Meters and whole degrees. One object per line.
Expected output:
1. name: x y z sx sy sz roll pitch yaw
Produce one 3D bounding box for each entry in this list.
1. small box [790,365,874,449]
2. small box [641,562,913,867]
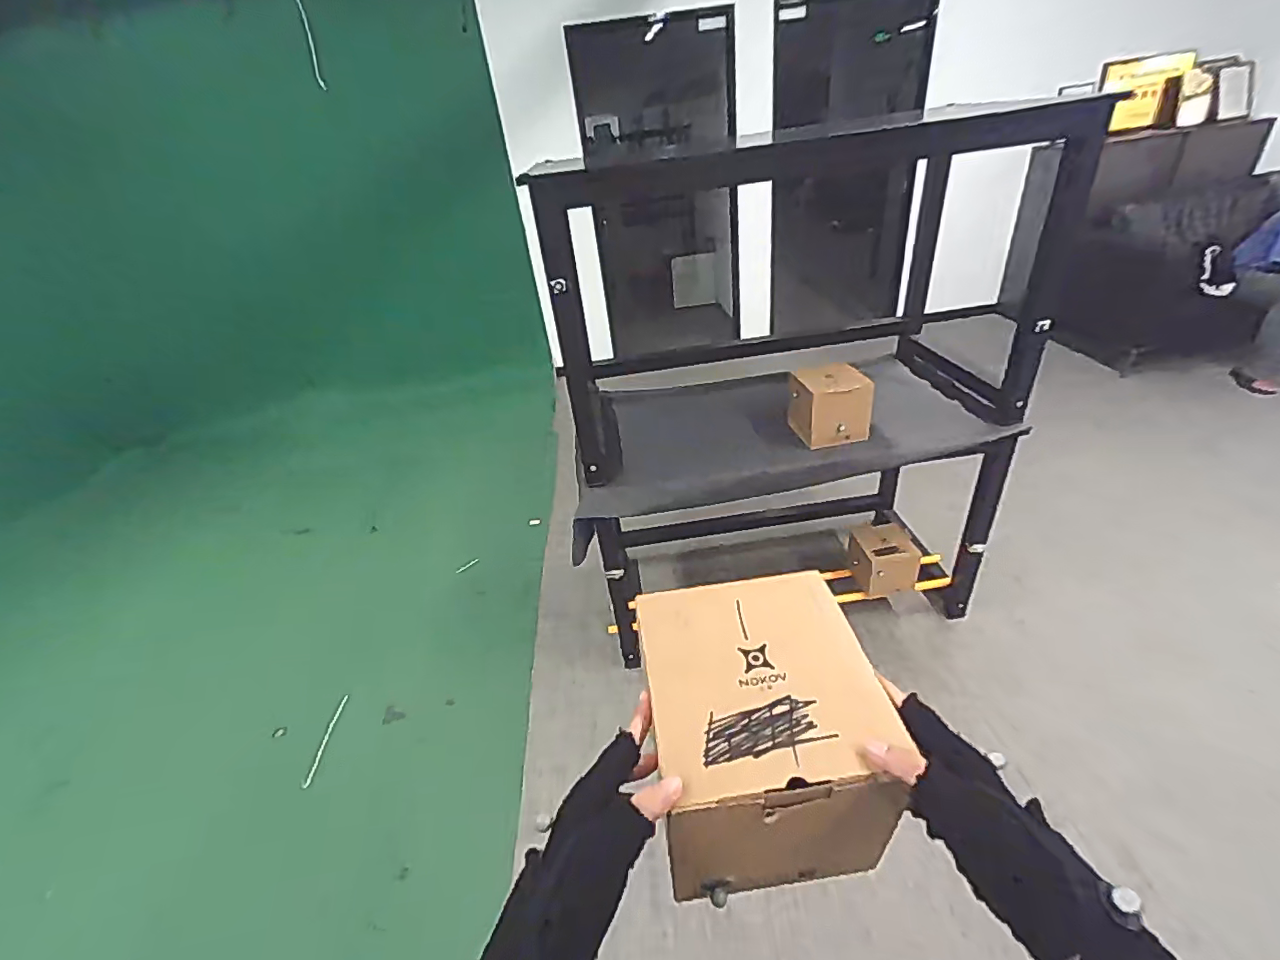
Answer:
1. small box: 0.528 -0.204 1.515 0.168 0.176 0.179 -10 32 -2
2. small box: 0.095 0.198 0.459 0.168 0.176 0.179 -6 35 -3
